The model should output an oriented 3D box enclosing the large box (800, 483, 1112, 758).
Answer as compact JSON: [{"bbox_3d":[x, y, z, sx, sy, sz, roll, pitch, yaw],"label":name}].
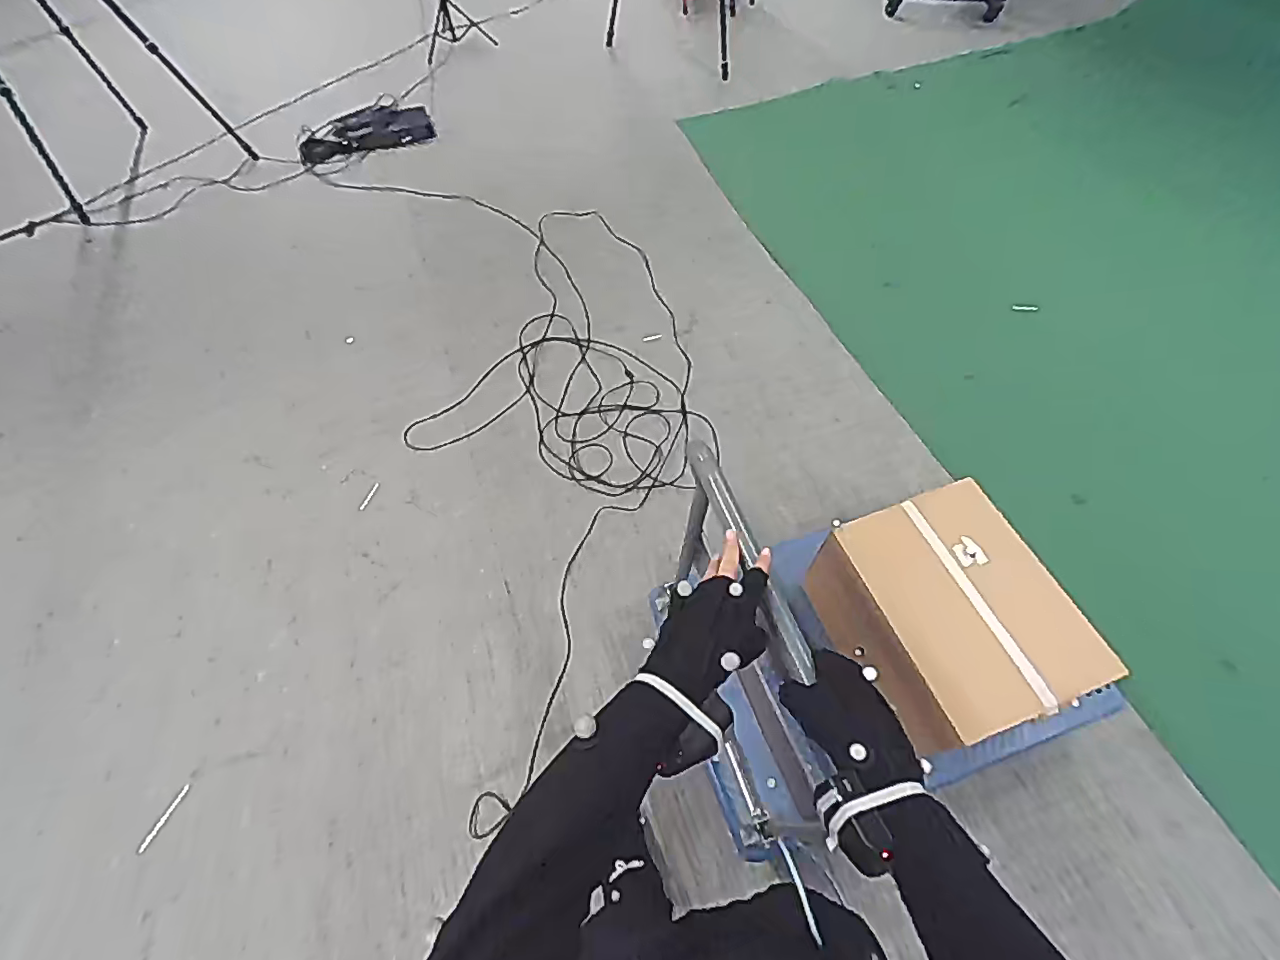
[{"bbox_3d":[0.580,0.287,1.095,0.320,0.320,0.408,-18,59,-8],"label":"large box"}]
